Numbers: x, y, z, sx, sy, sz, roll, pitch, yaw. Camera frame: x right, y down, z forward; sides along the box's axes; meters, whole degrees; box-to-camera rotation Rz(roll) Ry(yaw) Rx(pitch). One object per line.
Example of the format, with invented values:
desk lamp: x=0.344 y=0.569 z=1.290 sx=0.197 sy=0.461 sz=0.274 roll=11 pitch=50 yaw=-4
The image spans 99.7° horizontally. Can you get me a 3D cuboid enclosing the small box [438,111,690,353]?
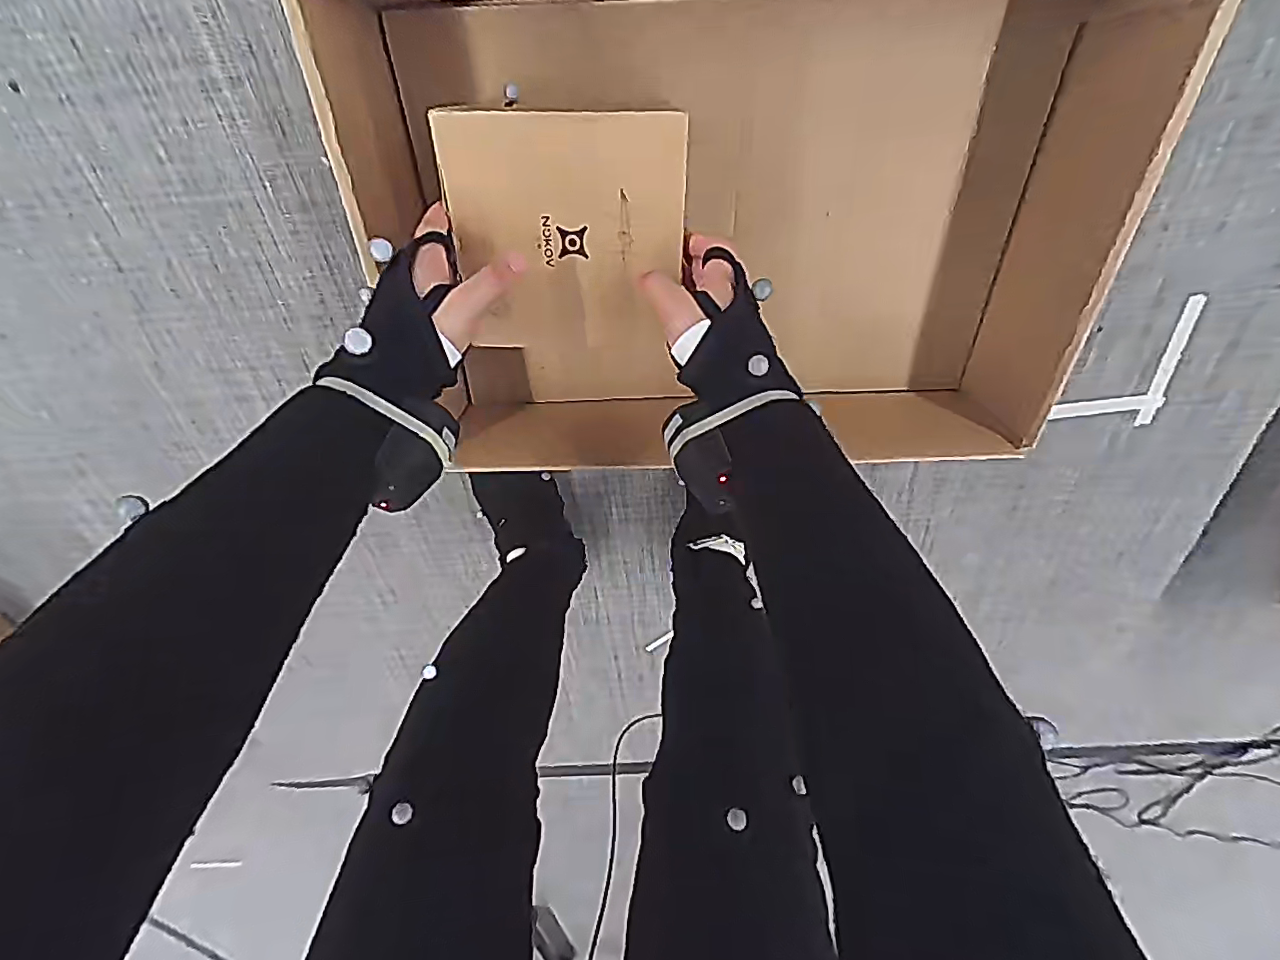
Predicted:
small box: x=-0.053 y=-0.223 z=0.479 sx=0.179 sy=0.176 sz=0.168 roll=-1 pitch=127 yaw=0
